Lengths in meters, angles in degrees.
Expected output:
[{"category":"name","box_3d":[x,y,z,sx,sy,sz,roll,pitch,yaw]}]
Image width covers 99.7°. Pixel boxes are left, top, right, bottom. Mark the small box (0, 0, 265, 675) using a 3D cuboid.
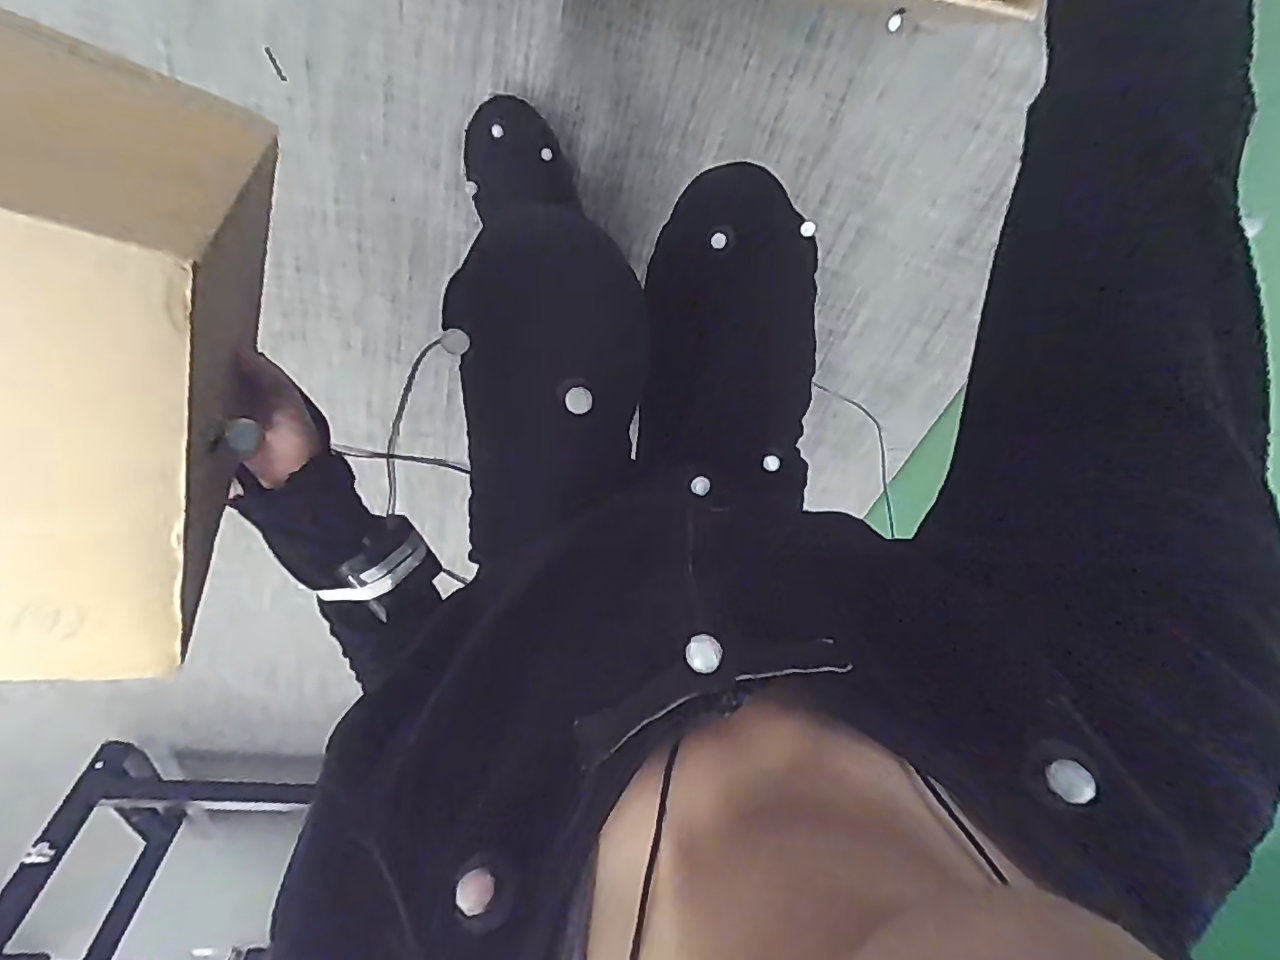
[{"category":"small box","box_3d":[-0.235,-0.057,0.173,0.168,0.176,0.179,10,126,-34]}]
